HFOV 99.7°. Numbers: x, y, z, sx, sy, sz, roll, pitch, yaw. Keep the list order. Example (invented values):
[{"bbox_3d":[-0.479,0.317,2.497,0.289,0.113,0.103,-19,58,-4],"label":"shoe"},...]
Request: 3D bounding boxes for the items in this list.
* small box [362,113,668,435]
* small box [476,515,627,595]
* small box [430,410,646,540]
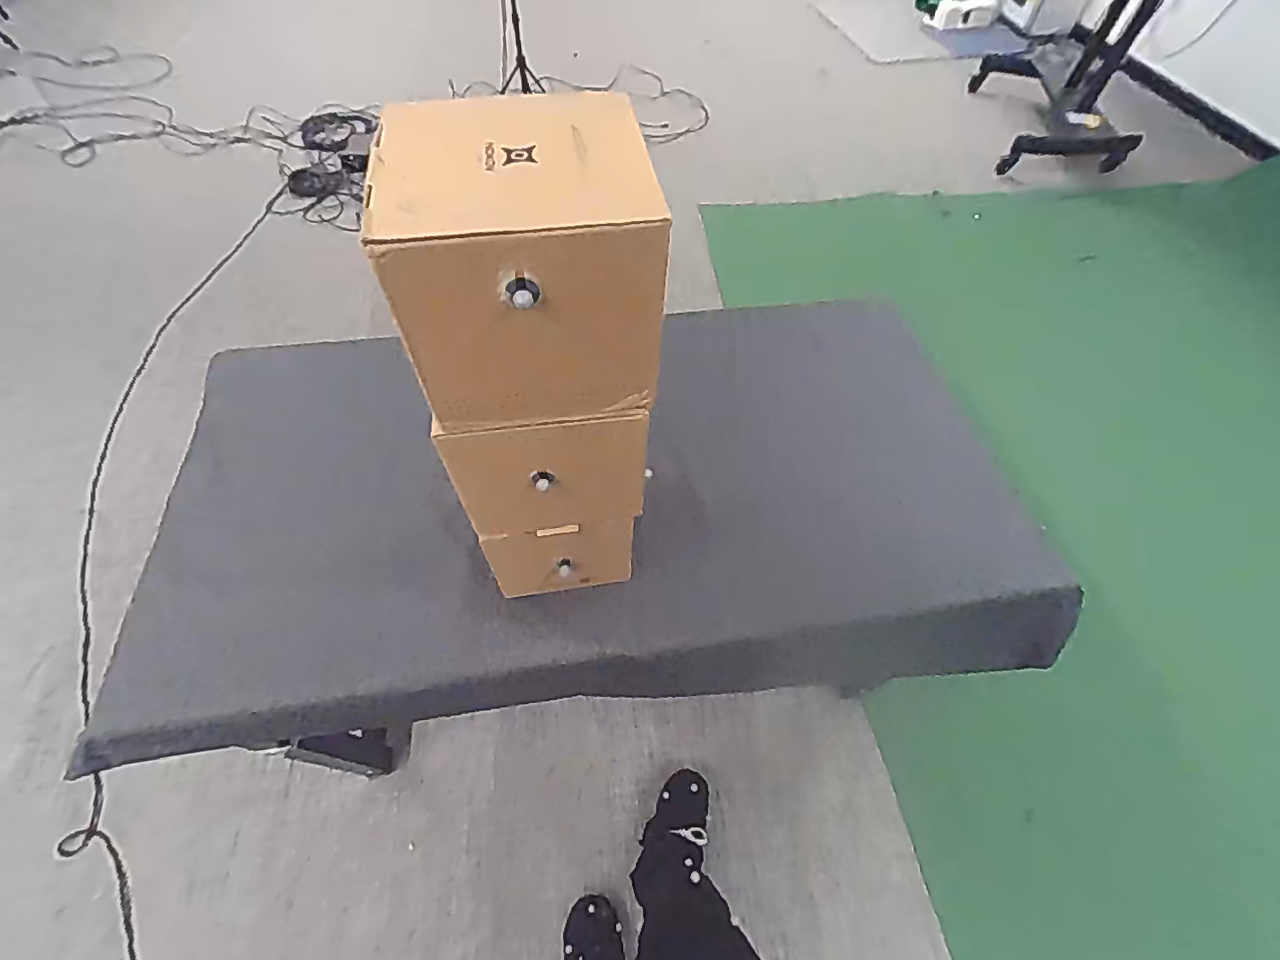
[{"bbox_3d":[-0.084,-0.149,0.414,0.179,0.176,0.168,-7,58,-9],"label":"small box"},{"bbox_3d":[-0.107,0.035,0.683,0.168,0.176,0.179,-7,57,-7],"label":"small box"},{"bbox_3d":[-0.095,-0.054,0.545,0.179,0.176,0.168,-7,57,-6],"label":"small box"}]
